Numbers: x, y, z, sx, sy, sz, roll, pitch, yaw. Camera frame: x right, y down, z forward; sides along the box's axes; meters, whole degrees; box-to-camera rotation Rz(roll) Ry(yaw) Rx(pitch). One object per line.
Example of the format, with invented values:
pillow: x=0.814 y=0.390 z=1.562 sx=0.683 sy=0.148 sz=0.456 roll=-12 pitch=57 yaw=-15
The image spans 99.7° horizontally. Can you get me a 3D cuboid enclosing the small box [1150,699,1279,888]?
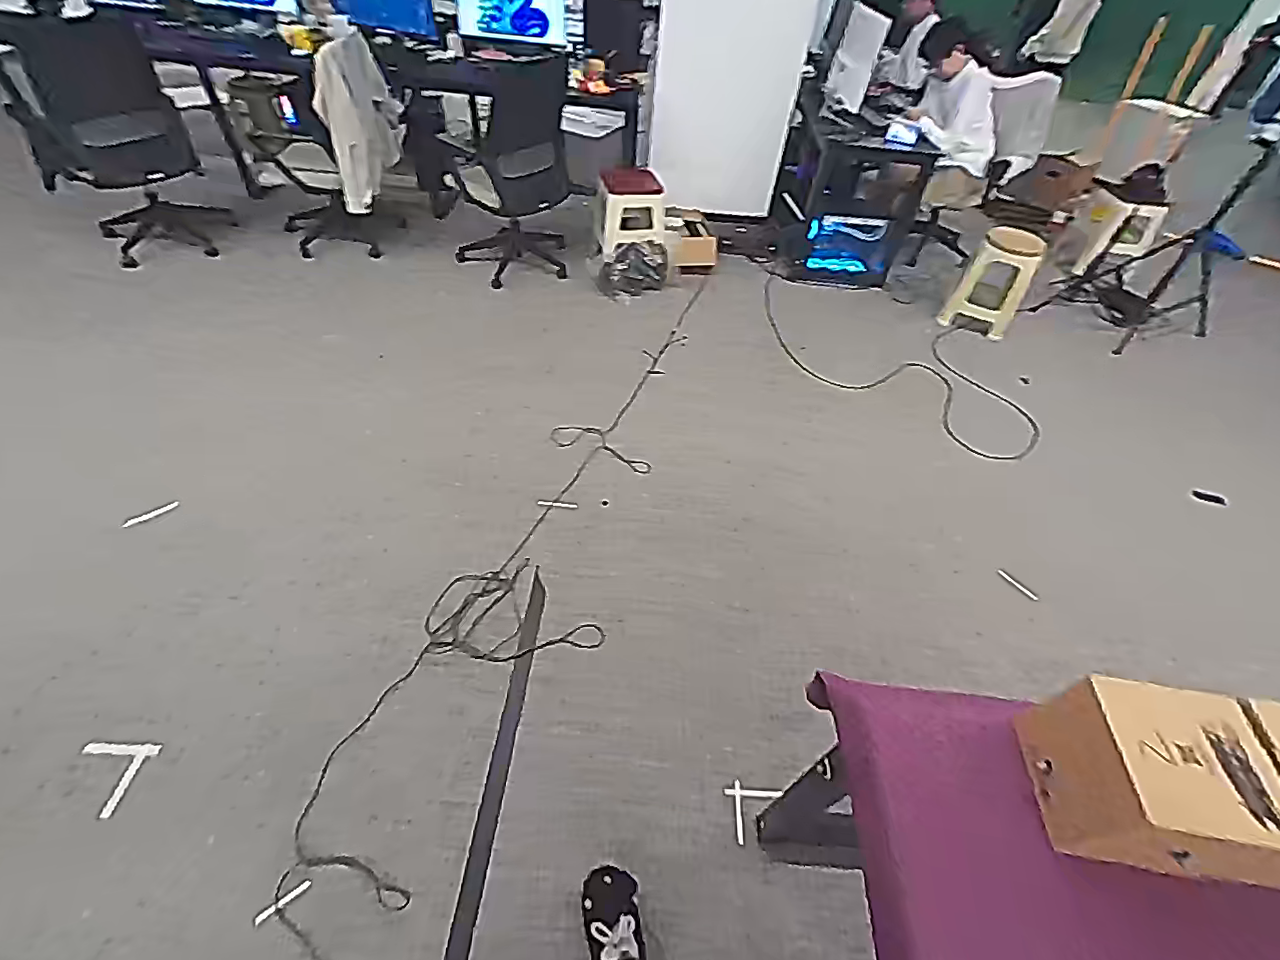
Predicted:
small box: x=0.811 y=0.395 z=0.667 sx=0.179 sy=0.176 sz=0.168 roll=8 pitch=47 yaw=3
